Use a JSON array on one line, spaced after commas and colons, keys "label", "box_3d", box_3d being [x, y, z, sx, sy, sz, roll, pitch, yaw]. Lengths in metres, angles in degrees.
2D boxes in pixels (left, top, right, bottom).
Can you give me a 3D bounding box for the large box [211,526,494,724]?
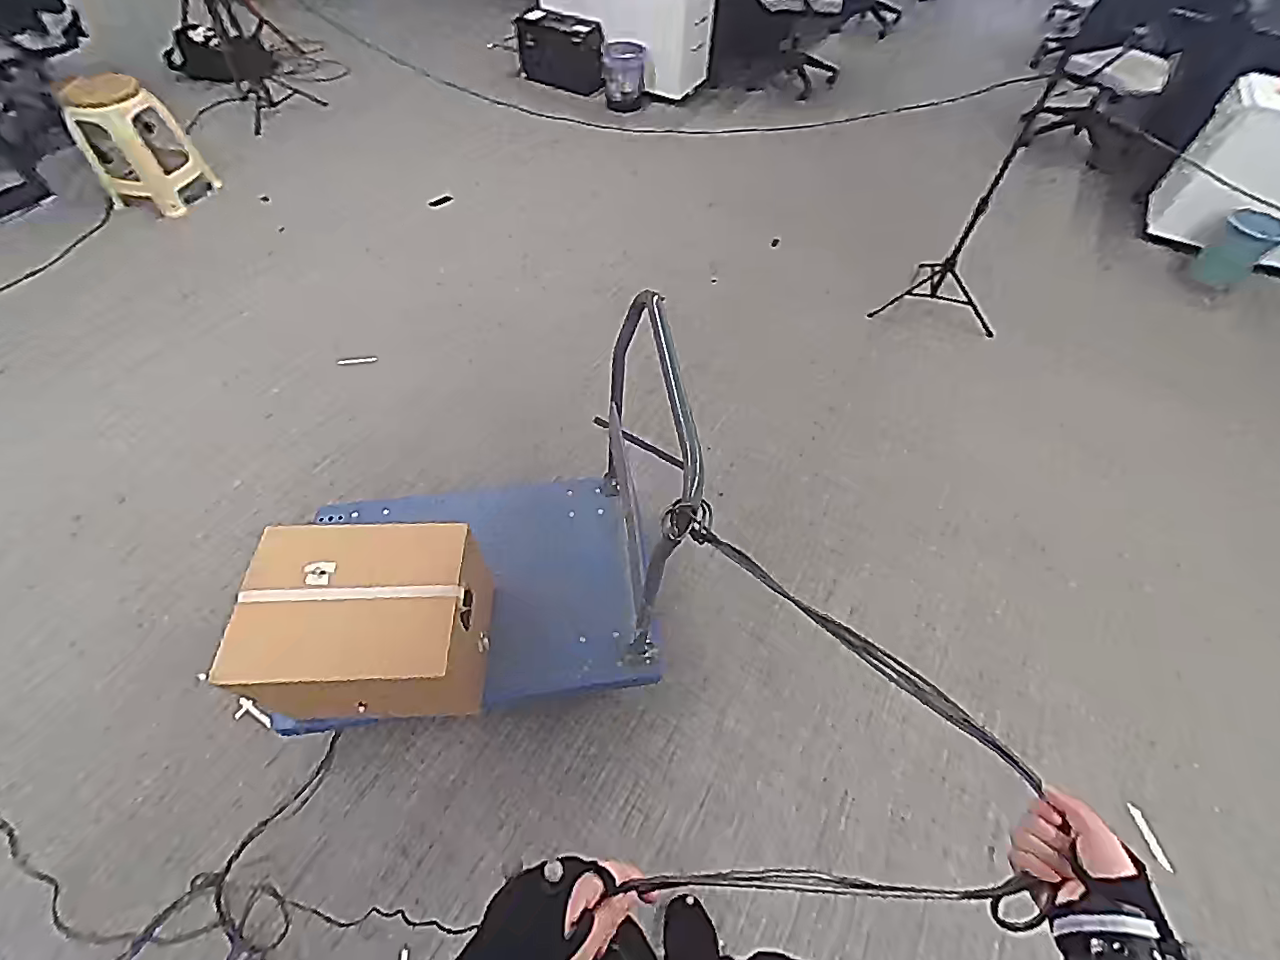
[{"label": "large box", "box_3d": [-0.545, 0.312, 1.134, 0.408, 0.320, 0.320, -2, 55, -3]}]
